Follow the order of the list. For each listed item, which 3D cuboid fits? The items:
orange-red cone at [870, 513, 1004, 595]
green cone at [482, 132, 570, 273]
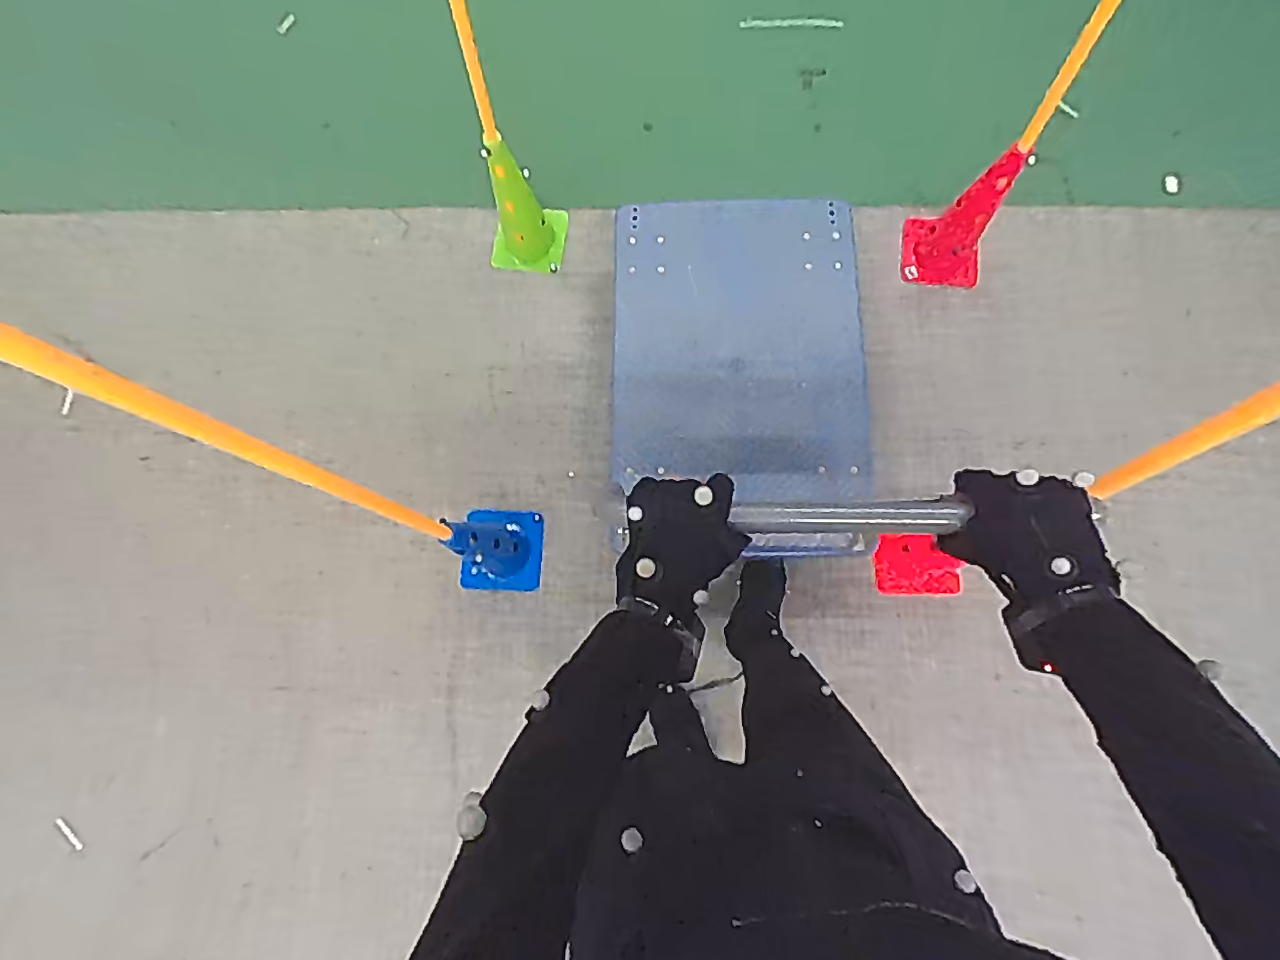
[{"bbox_3d":[0.652,0.141,1.150,0.199,0.360,0.198,1,77,5],"label":"orange-red cone"},{"bbox_3d":[-0.318,-0.724,1.379,0.202,0.368,0.200,6,78,5],"label":"green cone"}]
